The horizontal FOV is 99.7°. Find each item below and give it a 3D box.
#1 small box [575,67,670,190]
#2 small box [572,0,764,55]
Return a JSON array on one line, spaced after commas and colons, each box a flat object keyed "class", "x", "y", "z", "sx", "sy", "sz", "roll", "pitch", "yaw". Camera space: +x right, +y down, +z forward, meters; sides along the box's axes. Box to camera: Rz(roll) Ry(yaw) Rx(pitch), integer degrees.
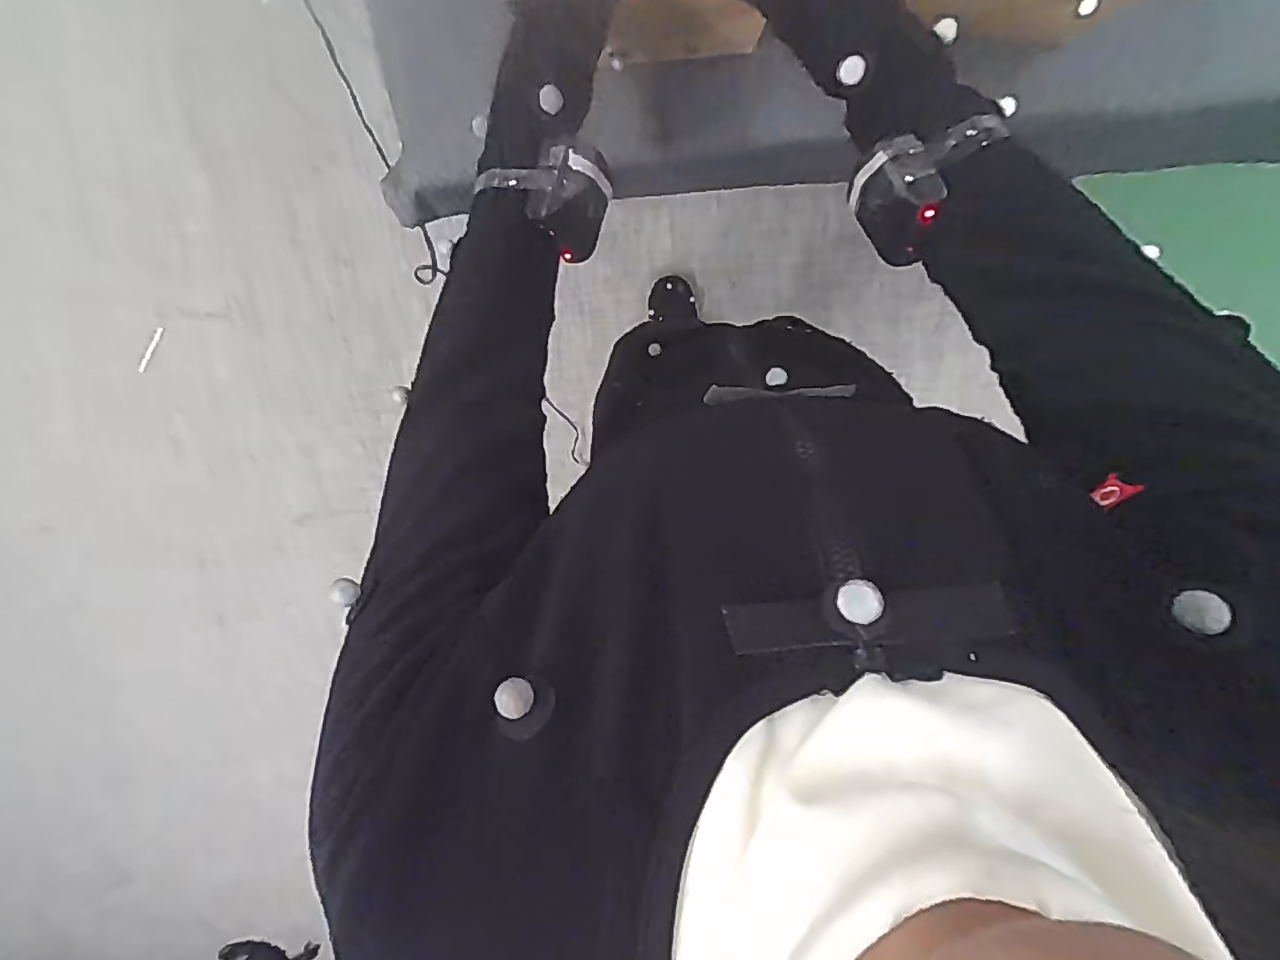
[{"class": "small box", "x": -0.029, "y": -0.719, "z": 1.129, "sx": 0.168, "sy": 0.176, "sz": 0.179, "roll": -9, "pitch": 110, "yaw": 4}, {"class": "small box", "x": 0.023, "y": -0.476, "z": 0.437, "sx": 0.168, "sy": 0.176, "sz": 0.179, "roll": -3, "pitch": 108, "yaw": 2}]
